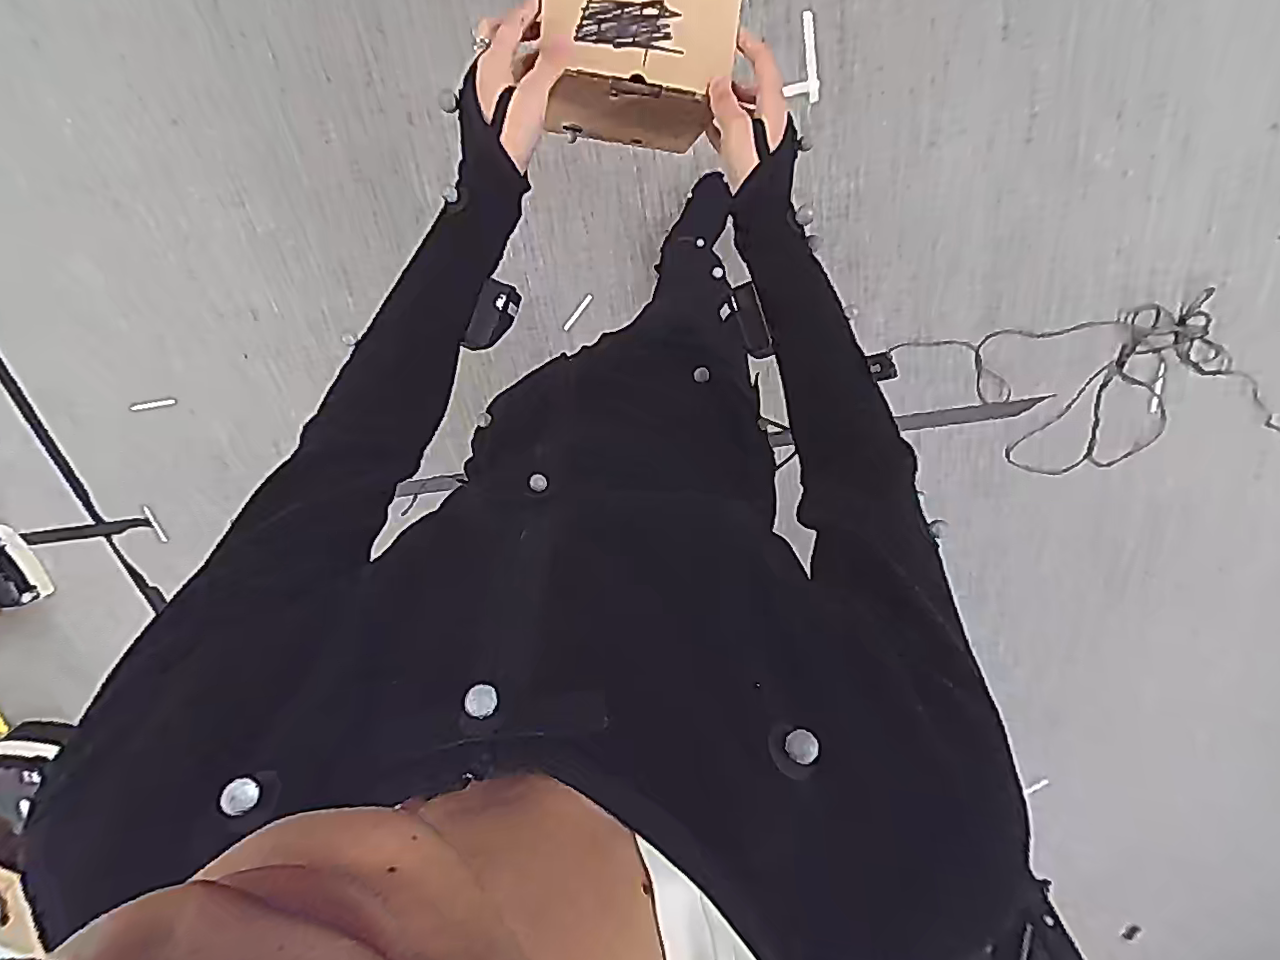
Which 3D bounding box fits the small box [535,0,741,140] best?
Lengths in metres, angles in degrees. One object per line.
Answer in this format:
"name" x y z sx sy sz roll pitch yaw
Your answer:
"small box" -0.006 -0.440 0.496 0.168 0.176 0.179 3 106 -11
